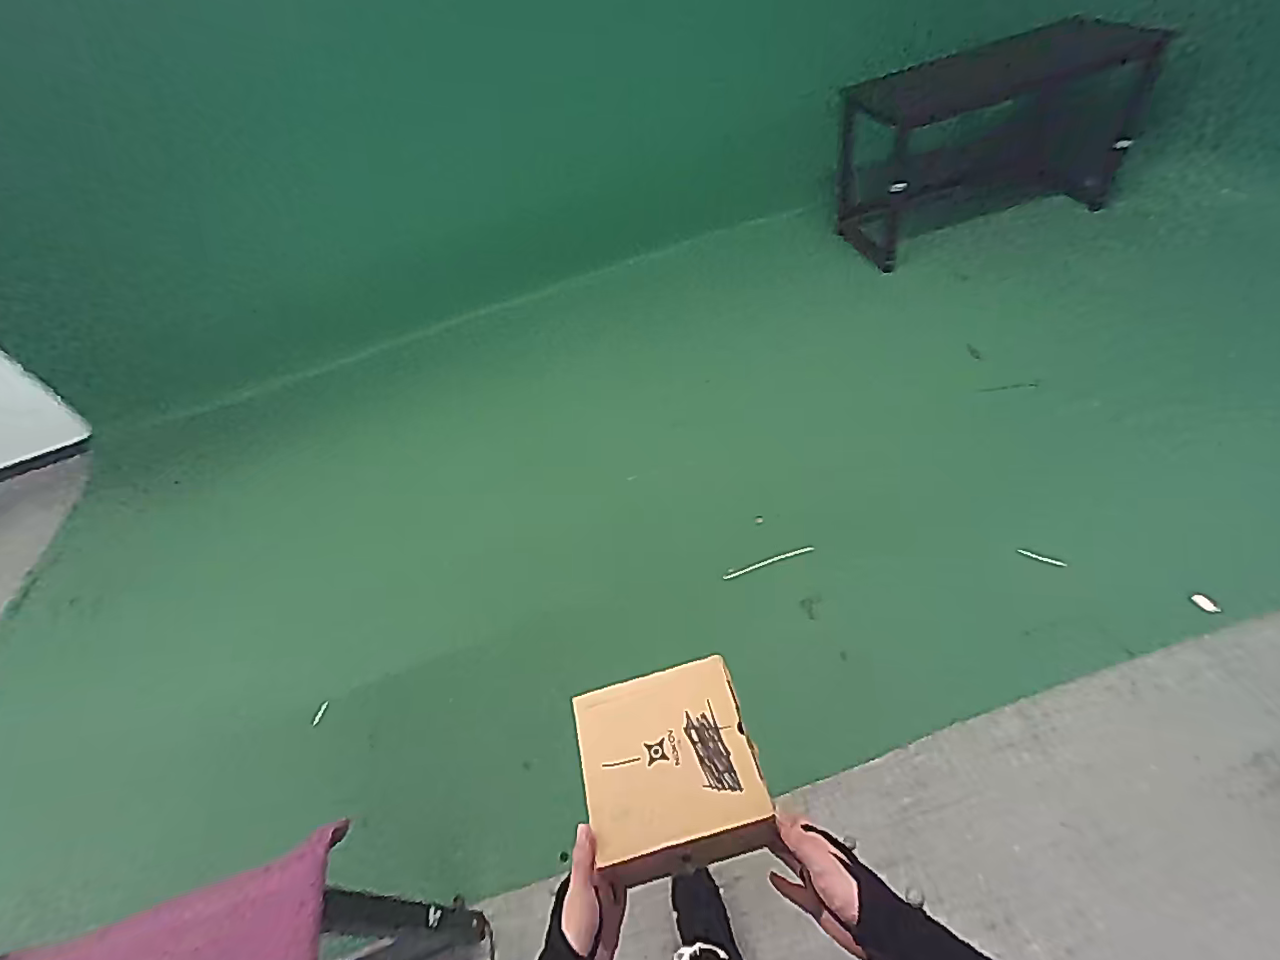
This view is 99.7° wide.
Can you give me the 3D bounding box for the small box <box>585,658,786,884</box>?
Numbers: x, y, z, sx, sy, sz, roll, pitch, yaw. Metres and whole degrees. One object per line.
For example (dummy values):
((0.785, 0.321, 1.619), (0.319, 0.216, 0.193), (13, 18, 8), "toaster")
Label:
((0.047, 0.330, 0.611), (0.179, 0.176, 0.168), (-14, 46, -2), "small box")
